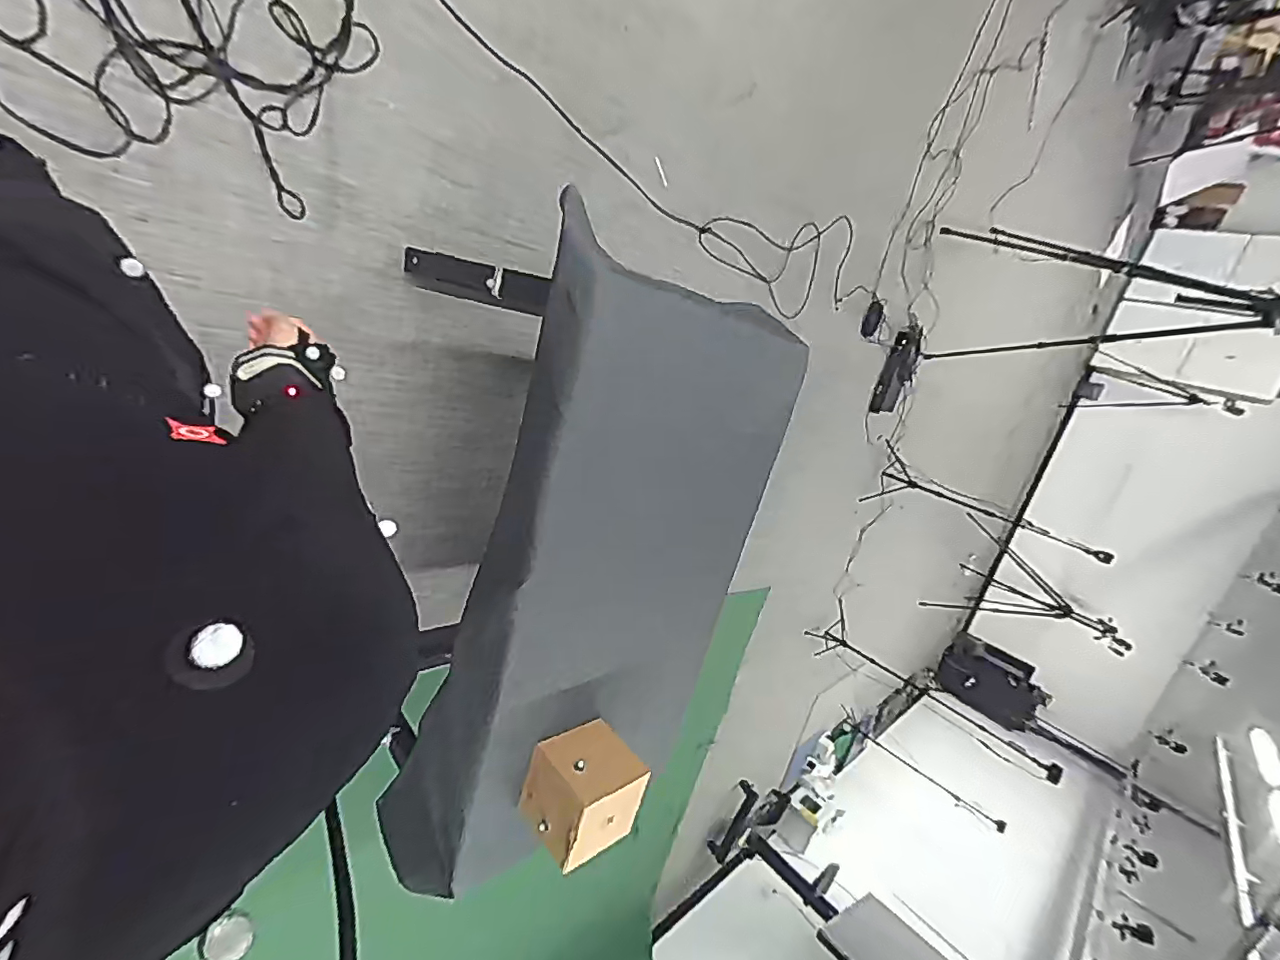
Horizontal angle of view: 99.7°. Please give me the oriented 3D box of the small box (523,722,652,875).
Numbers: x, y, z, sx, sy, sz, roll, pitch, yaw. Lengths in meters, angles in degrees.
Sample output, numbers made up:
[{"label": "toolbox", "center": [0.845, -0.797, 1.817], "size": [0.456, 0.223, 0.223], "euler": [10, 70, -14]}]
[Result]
[{"label": "small box", "center": [-0.111, 0.628, 1.091], "size": [0.179, 0.176, 0.168], "euler": [0, 112, -48]}]
